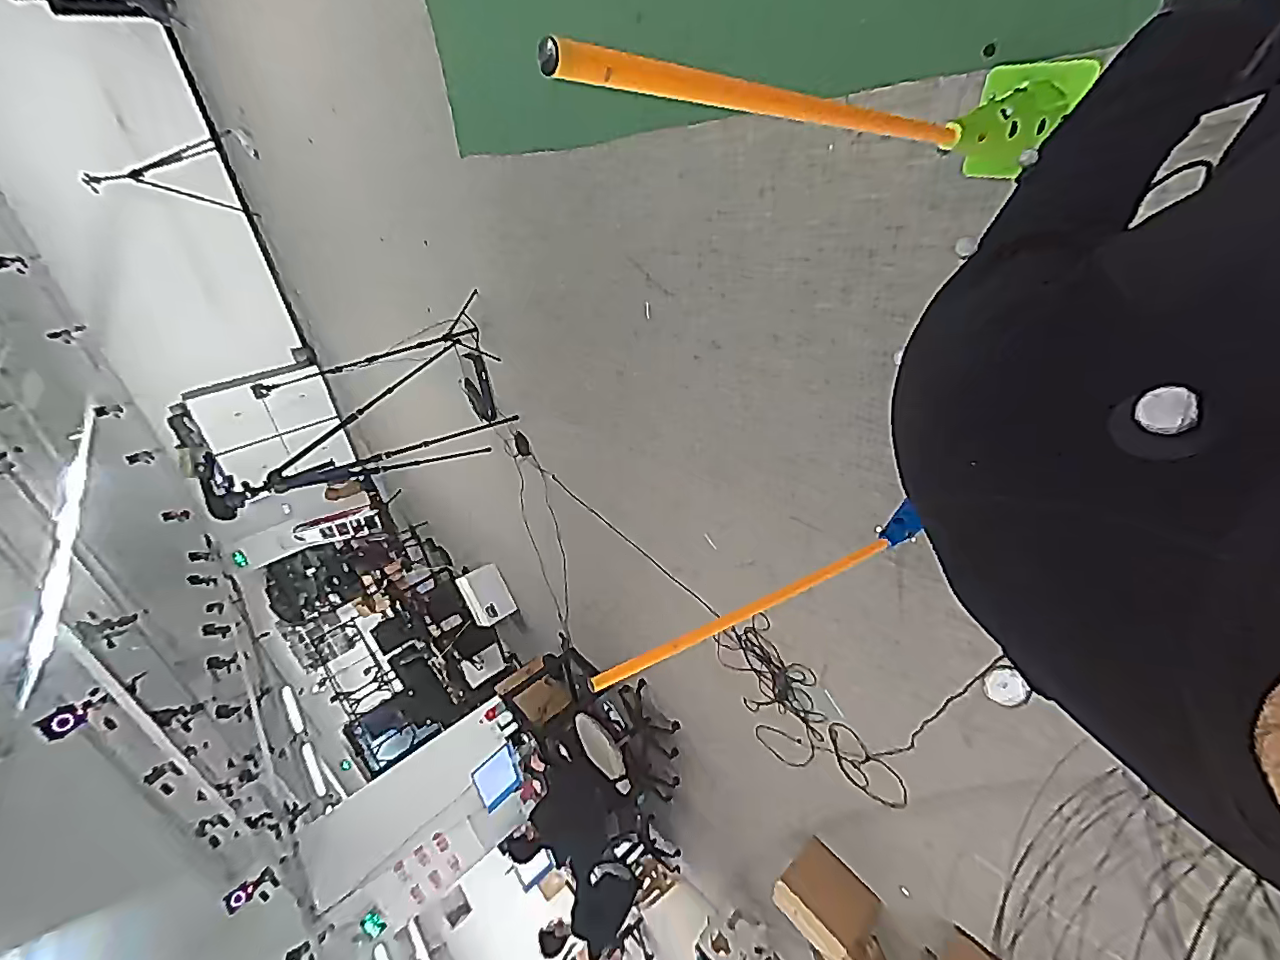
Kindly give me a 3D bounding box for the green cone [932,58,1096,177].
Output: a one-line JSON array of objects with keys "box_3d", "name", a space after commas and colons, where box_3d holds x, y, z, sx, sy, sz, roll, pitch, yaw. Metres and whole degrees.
[{"box_3d": [0.670, -0.679, 1.035, 0.202, 0.368, 0.200, 32, 137, 40], "name": "green cone"}]
